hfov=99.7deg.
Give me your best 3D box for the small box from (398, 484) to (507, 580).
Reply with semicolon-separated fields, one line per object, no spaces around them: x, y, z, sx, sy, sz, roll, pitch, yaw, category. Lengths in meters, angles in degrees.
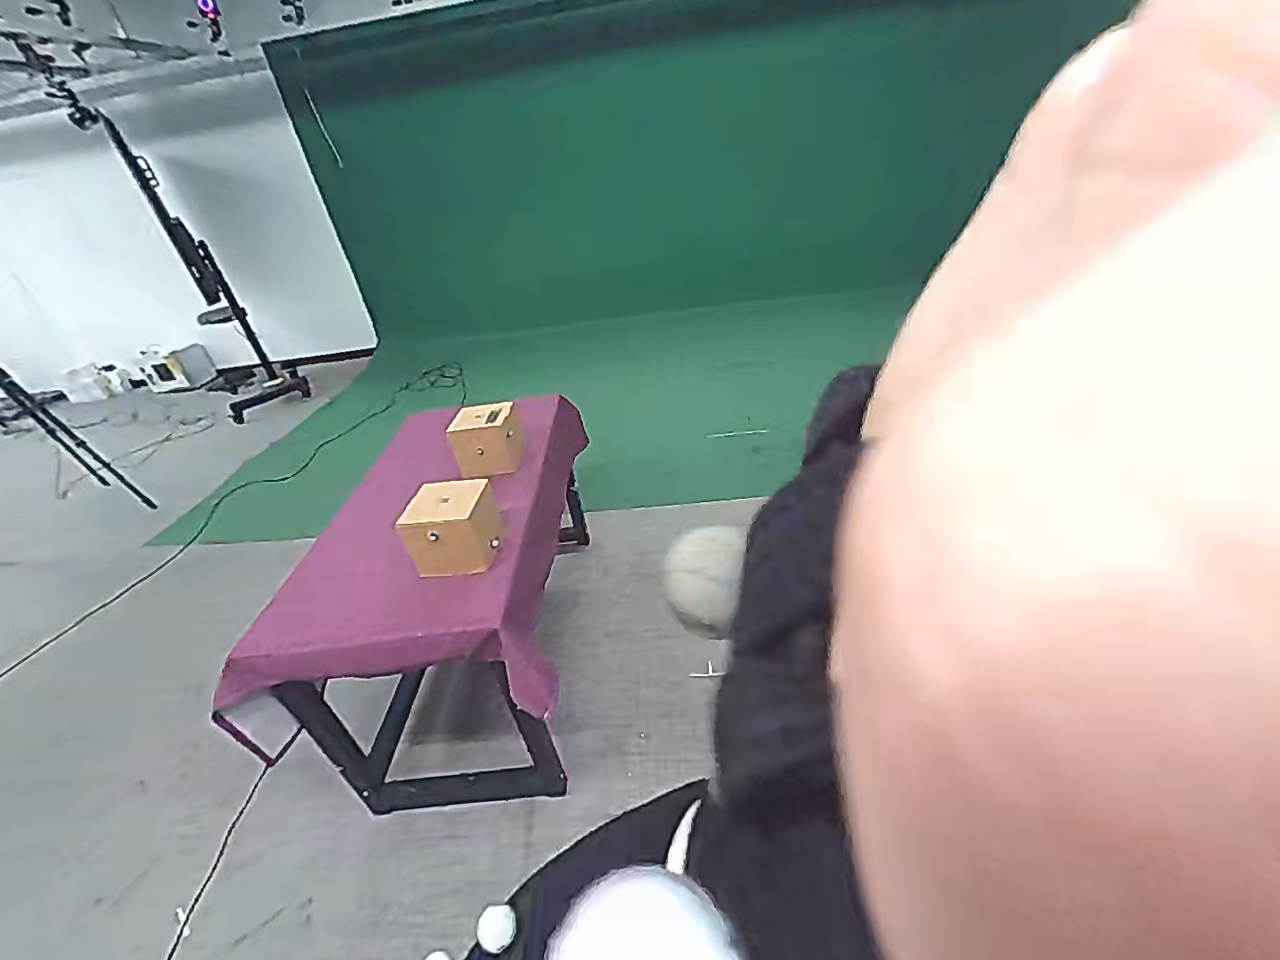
-0.448;0.130;1.323;0.179;0.176;0.168;-5;33;8;small box
